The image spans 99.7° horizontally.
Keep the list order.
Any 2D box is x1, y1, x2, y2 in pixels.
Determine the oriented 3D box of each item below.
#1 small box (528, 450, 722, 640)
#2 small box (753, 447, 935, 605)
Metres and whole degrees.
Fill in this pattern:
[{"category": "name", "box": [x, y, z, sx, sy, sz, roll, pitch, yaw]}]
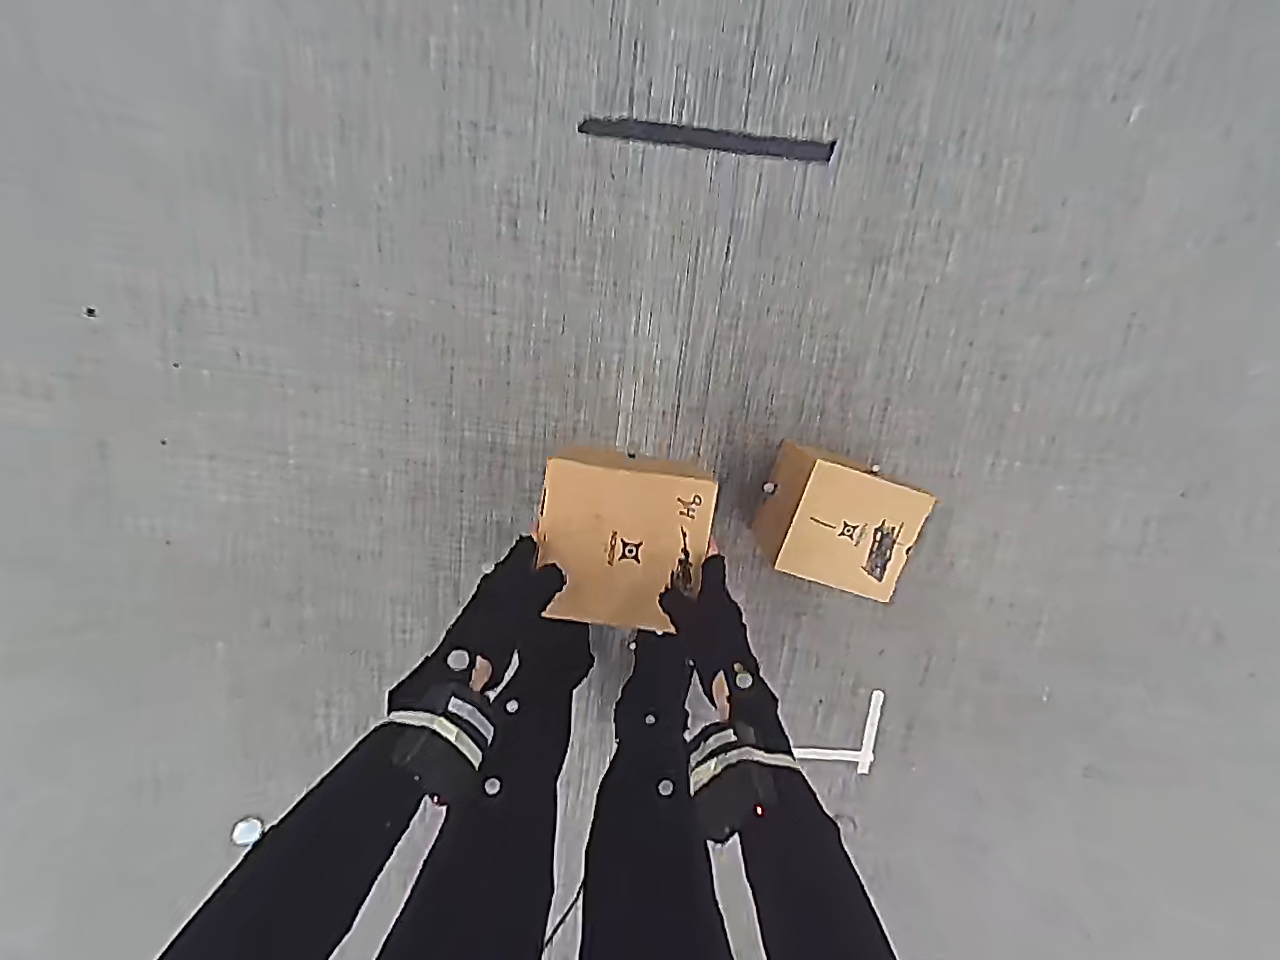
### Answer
[{"category": "small box", "box": [-0.017, 0.061, 0.619, 0.179, 0.176, 0.168, 9, 97, -2]}, {"category": "small box", "box": [0.291, 0.059, 0.813, 0.179, 0.176, 0.168, 18, 101, -4]}]
